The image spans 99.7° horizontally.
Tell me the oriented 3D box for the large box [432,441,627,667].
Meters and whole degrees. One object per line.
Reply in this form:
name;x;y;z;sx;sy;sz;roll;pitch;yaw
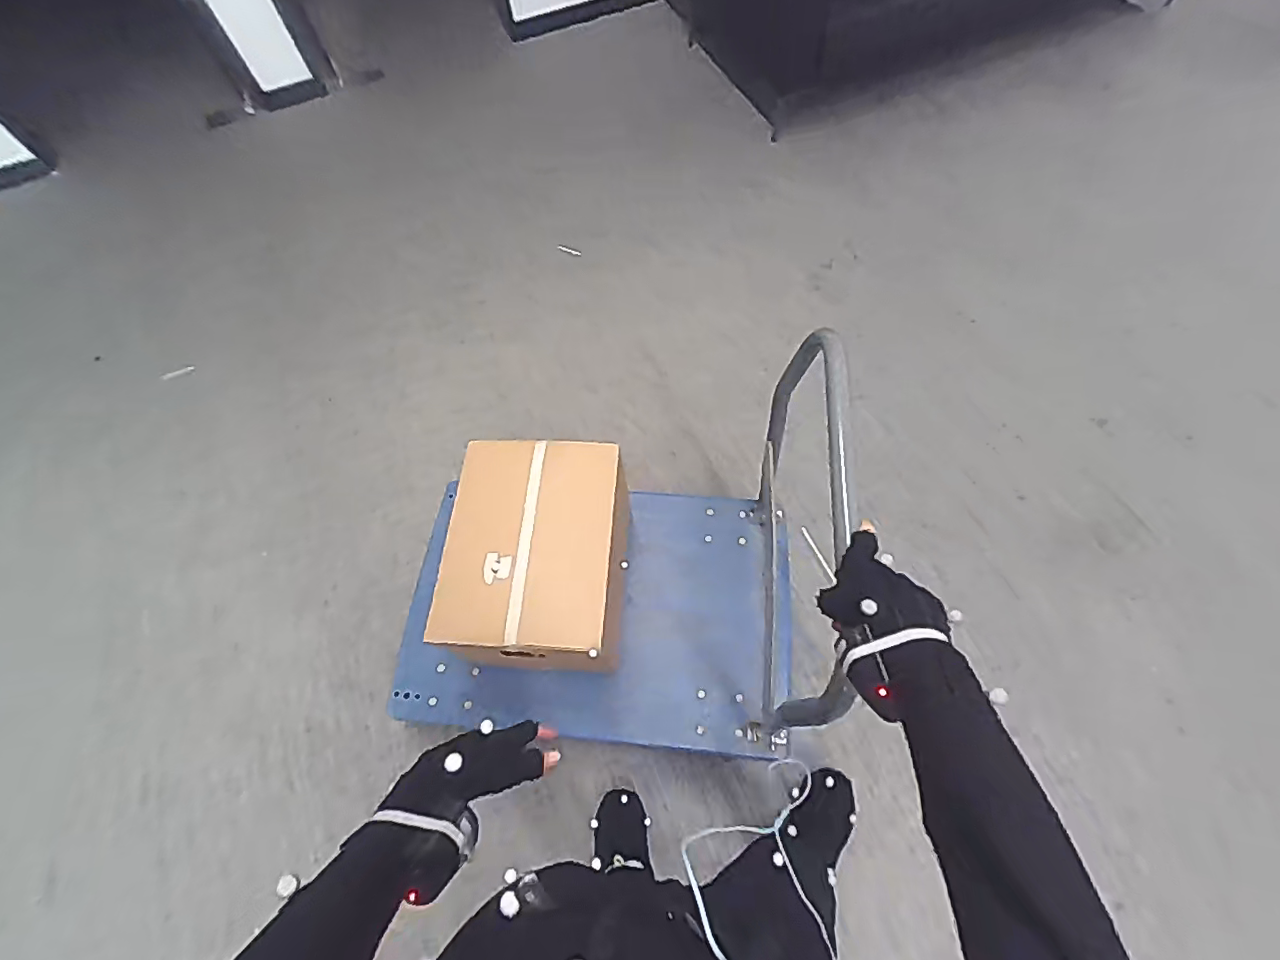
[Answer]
large box;-0.198;0.164;1.151;0.320;0.320;0.408;1;65;5
